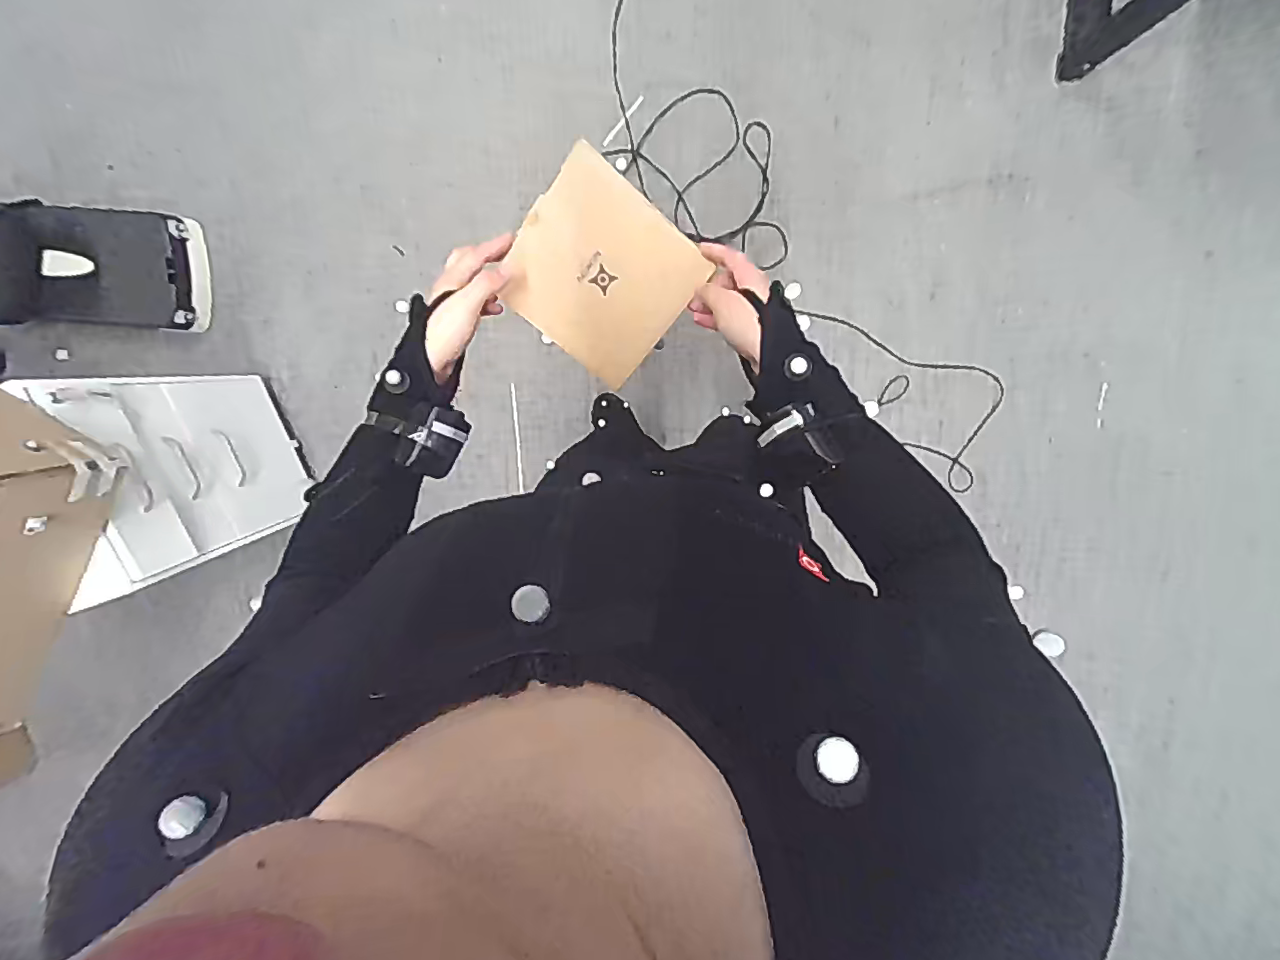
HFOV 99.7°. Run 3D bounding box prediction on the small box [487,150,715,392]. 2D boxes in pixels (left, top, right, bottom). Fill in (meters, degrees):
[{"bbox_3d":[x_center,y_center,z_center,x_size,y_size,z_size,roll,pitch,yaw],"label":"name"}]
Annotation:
[{"bbox_3d":[-0.036,-0.233,0.618,0.179,0.176,0.168,38,109,-11],"label":"small box"}]
